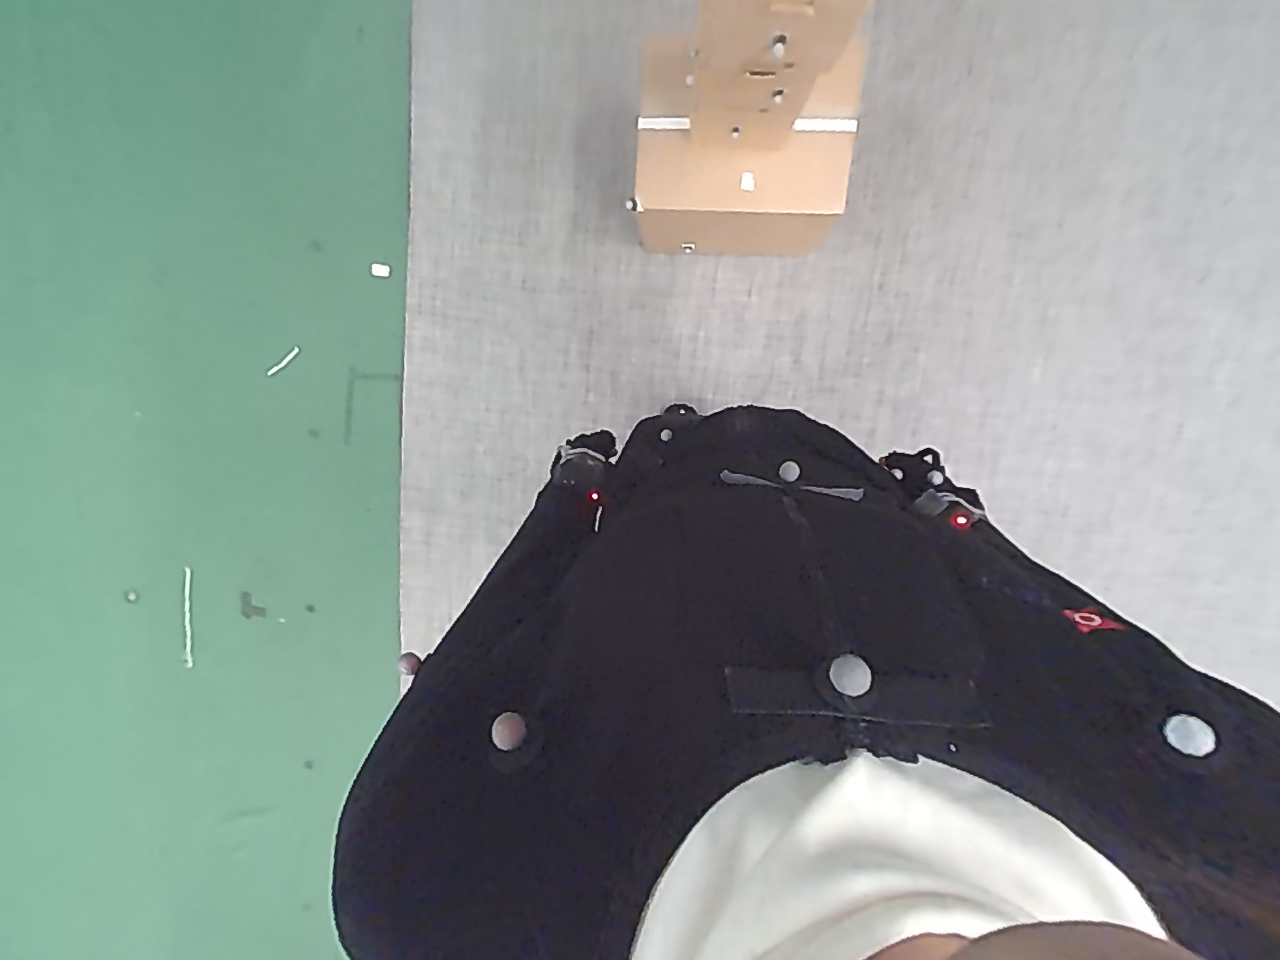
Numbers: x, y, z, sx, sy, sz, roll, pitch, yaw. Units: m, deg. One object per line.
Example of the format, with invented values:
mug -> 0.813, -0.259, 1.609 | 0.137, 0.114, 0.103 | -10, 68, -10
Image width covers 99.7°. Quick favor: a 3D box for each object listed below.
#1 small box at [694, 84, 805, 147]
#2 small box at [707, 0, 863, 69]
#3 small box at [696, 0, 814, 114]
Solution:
small box -> 0.186, -0.691, 0.928 | 0.179, 0.176, 0.168 | 3, 105, 5
small box -> 0.167, -0.603, 0.615 | 0.168, 0.176, 0.179 | 5, 105, 4
small box -> 0.170, -0.651, 0.771 | 0.168, 0.176, 0.179 | 4, 104, 4
